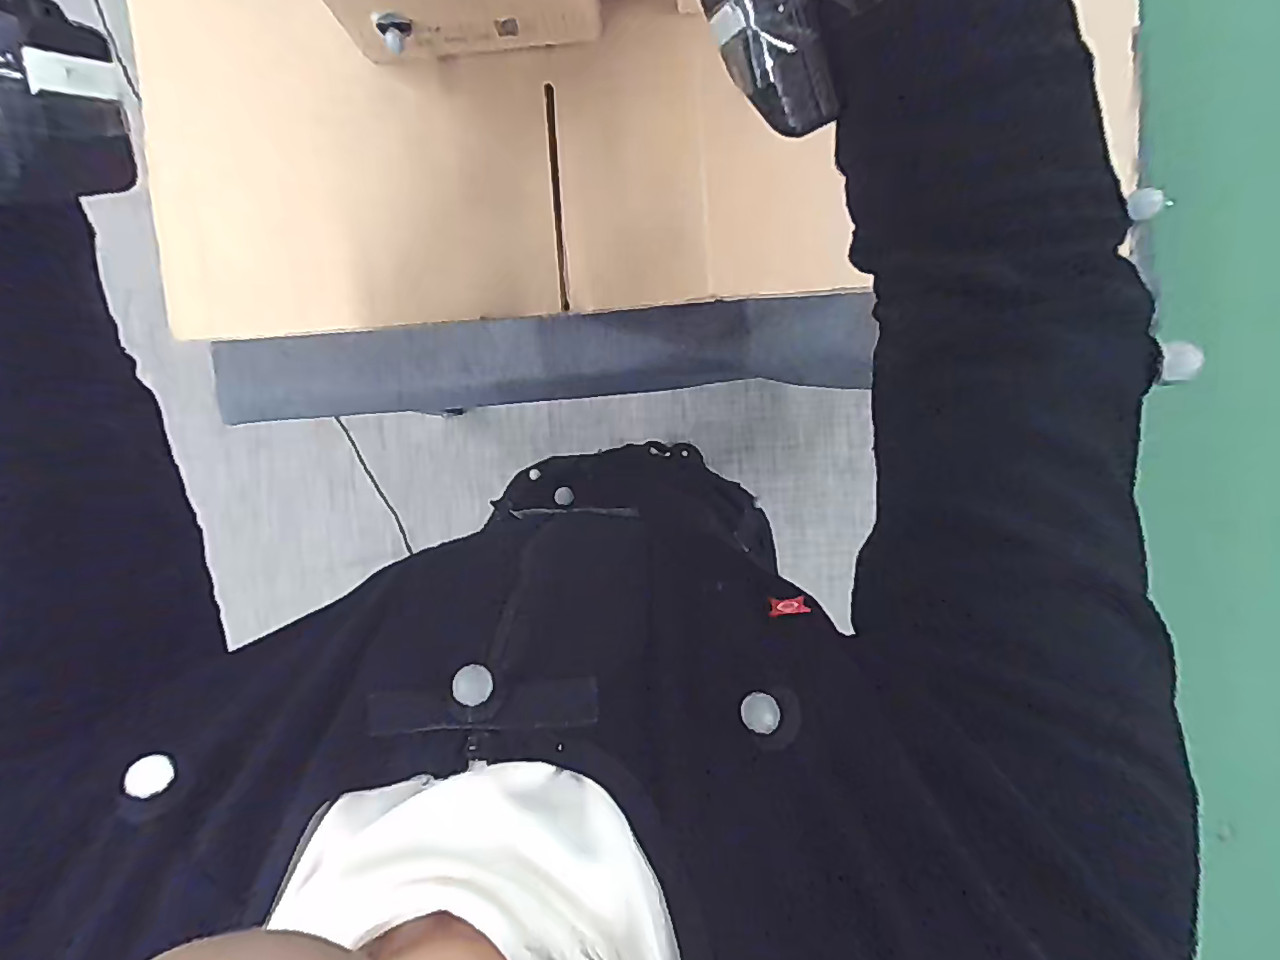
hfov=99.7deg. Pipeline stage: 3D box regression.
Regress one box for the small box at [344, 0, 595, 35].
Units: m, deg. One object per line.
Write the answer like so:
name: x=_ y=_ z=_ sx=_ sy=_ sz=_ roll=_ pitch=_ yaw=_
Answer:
small box: x=-0.117 y=-0.383 z=0.290 sx=0.168 sy=0.176 sz=0.179 roll=-4 pitch=94 yaw=2
